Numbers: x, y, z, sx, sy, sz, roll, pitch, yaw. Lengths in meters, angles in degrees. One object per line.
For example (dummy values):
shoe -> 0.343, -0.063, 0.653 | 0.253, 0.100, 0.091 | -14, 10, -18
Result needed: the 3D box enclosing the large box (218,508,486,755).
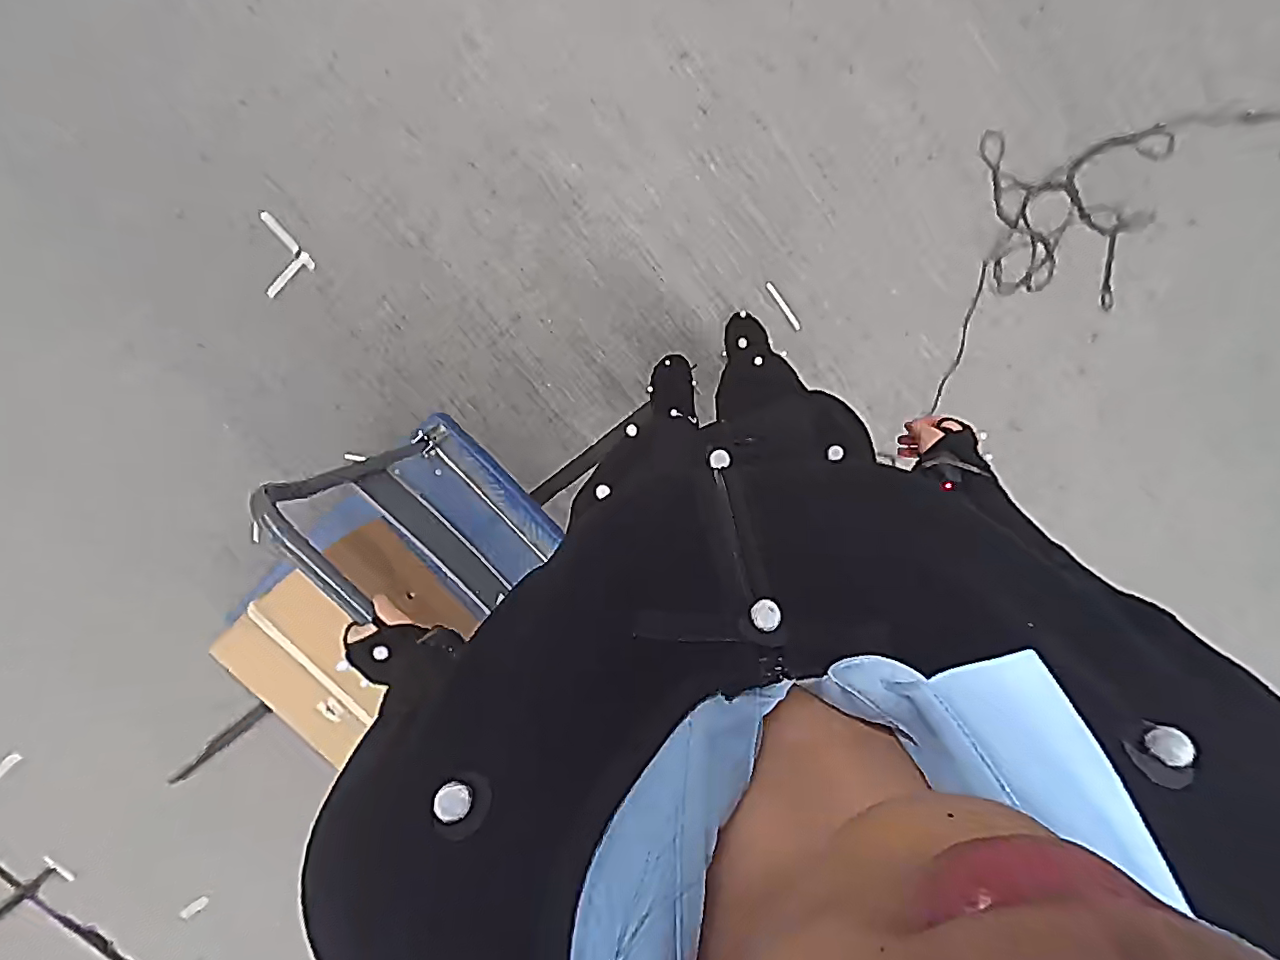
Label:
large box -> -0.650, 0.342, 1.294 | 0.320, 0.320, 0.408 | -39, 101, 11
